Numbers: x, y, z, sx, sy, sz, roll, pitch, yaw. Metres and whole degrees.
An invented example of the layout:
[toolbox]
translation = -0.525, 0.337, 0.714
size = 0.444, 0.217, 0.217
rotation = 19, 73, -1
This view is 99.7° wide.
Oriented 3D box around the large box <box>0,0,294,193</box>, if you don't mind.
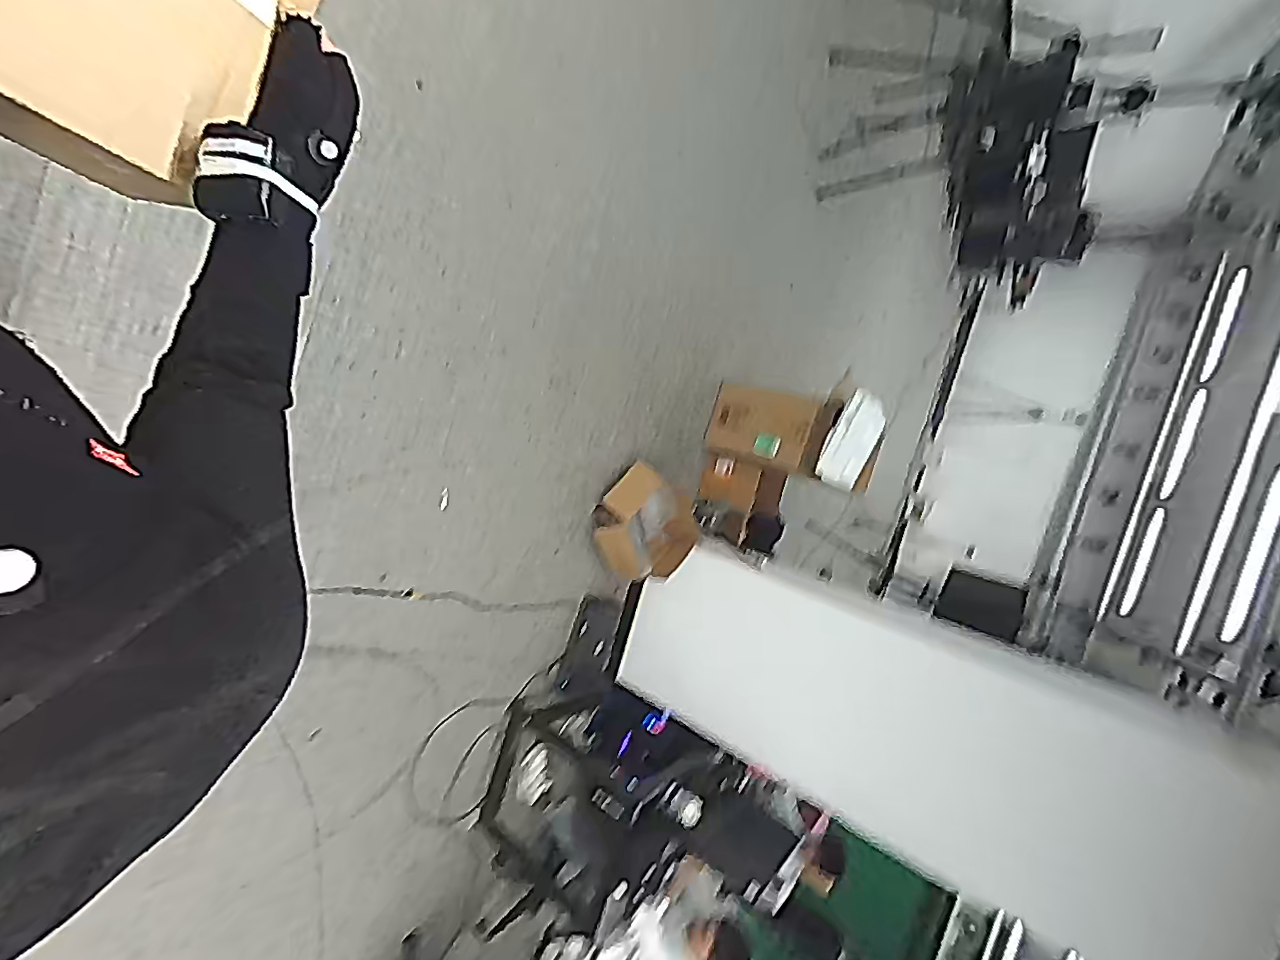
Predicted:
[large box]
translation = -0.513, -0.458, 0.358
size = 0.408, 0.320, 0.320
rotation = 19, 94, -59
